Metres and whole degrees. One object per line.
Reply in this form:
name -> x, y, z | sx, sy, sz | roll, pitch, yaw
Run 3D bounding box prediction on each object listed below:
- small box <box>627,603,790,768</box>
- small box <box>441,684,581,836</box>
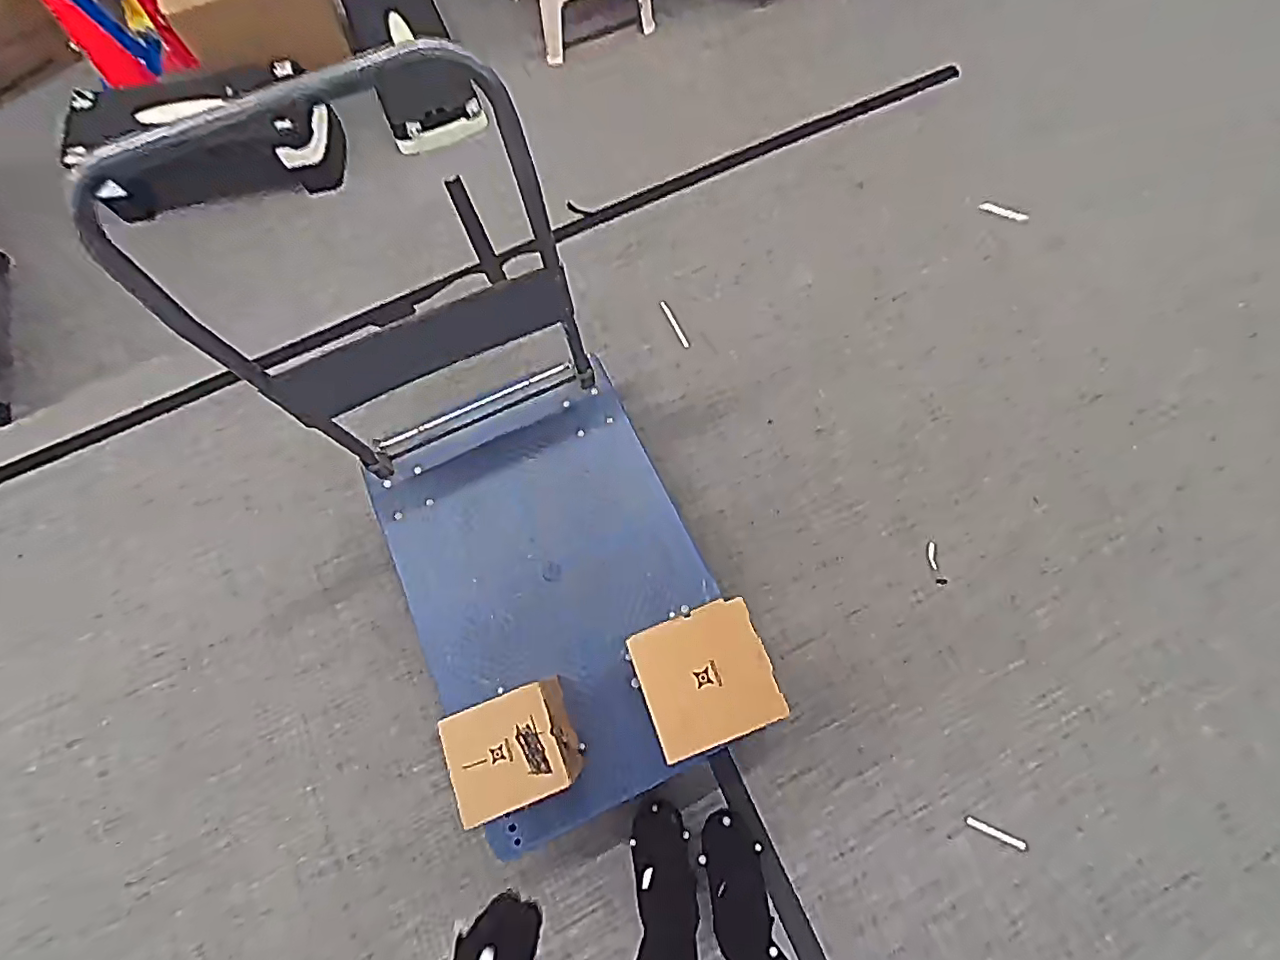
small box -> 0.092, 0.295, 0.797 | 0.179, 0.176, 0.168 | -20, 73, -6
small box -> -0.208, 0.461, 0.923 | 0.179, 0.176, 0.168 | -21, 73, -4
